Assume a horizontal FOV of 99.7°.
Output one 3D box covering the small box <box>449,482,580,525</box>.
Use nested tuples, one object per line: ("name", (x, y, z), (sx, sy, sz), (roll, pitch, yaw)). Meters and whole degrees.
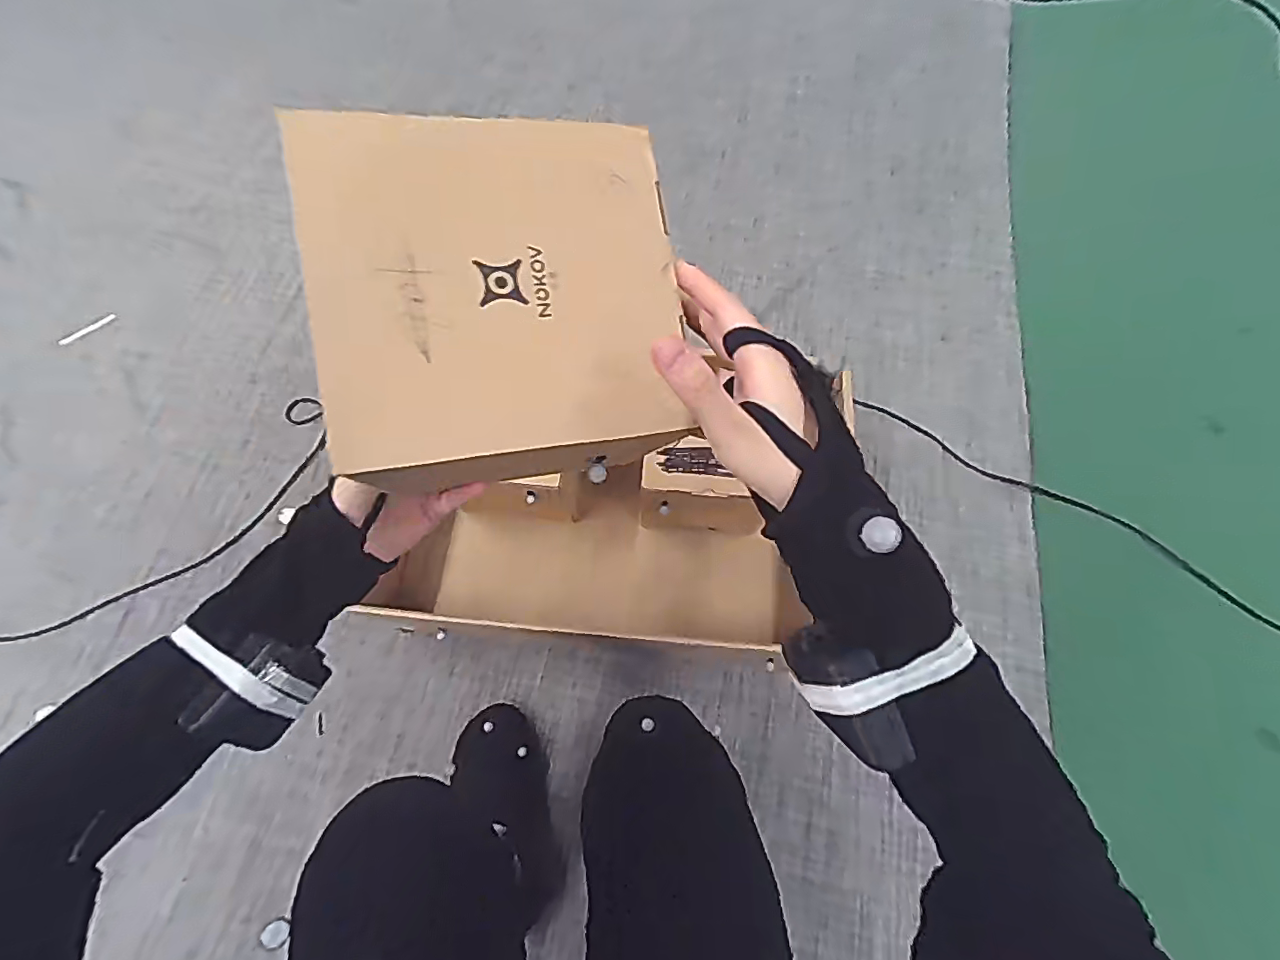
("small box", (-0.176, -0.042, 0.756), (0.179, 0.176, 0.168), (6, 70, 1))

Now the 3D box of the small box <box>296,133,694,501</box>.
("small box", (-0.085, -0.080, 0.342), (0.179, 0.176, 0.168), (-8, 87, -16))
